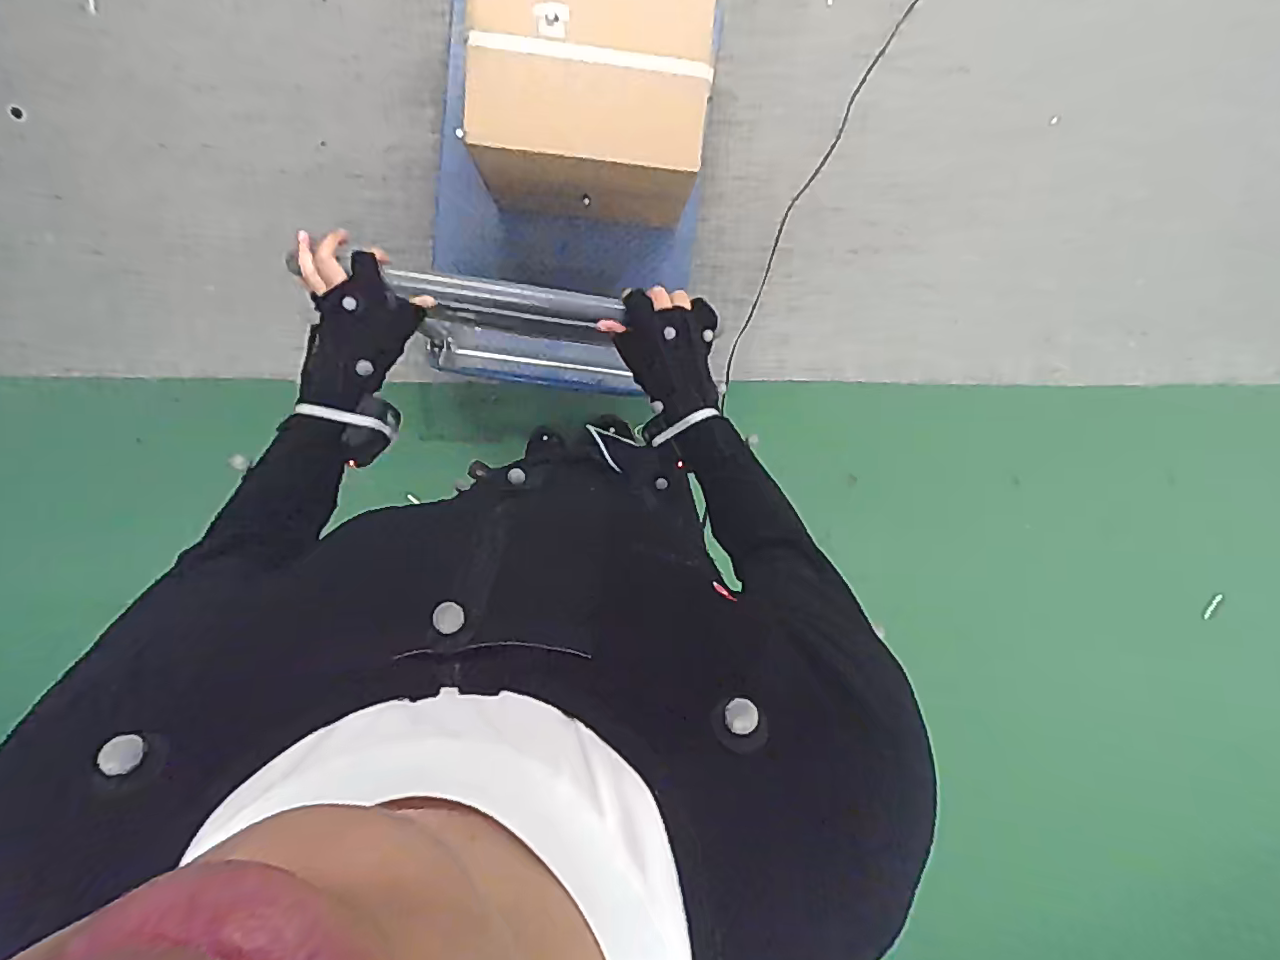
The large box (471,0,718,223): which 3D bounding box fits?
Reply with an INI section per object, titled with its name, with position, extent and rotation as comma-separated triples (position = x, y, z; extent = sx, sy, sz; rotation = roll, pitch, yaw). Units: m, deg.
[large box]
position = -0.083, -0.723, 1.050
extent = 0.408, 0.320, 0.320
rotation = 5, 97, -4
